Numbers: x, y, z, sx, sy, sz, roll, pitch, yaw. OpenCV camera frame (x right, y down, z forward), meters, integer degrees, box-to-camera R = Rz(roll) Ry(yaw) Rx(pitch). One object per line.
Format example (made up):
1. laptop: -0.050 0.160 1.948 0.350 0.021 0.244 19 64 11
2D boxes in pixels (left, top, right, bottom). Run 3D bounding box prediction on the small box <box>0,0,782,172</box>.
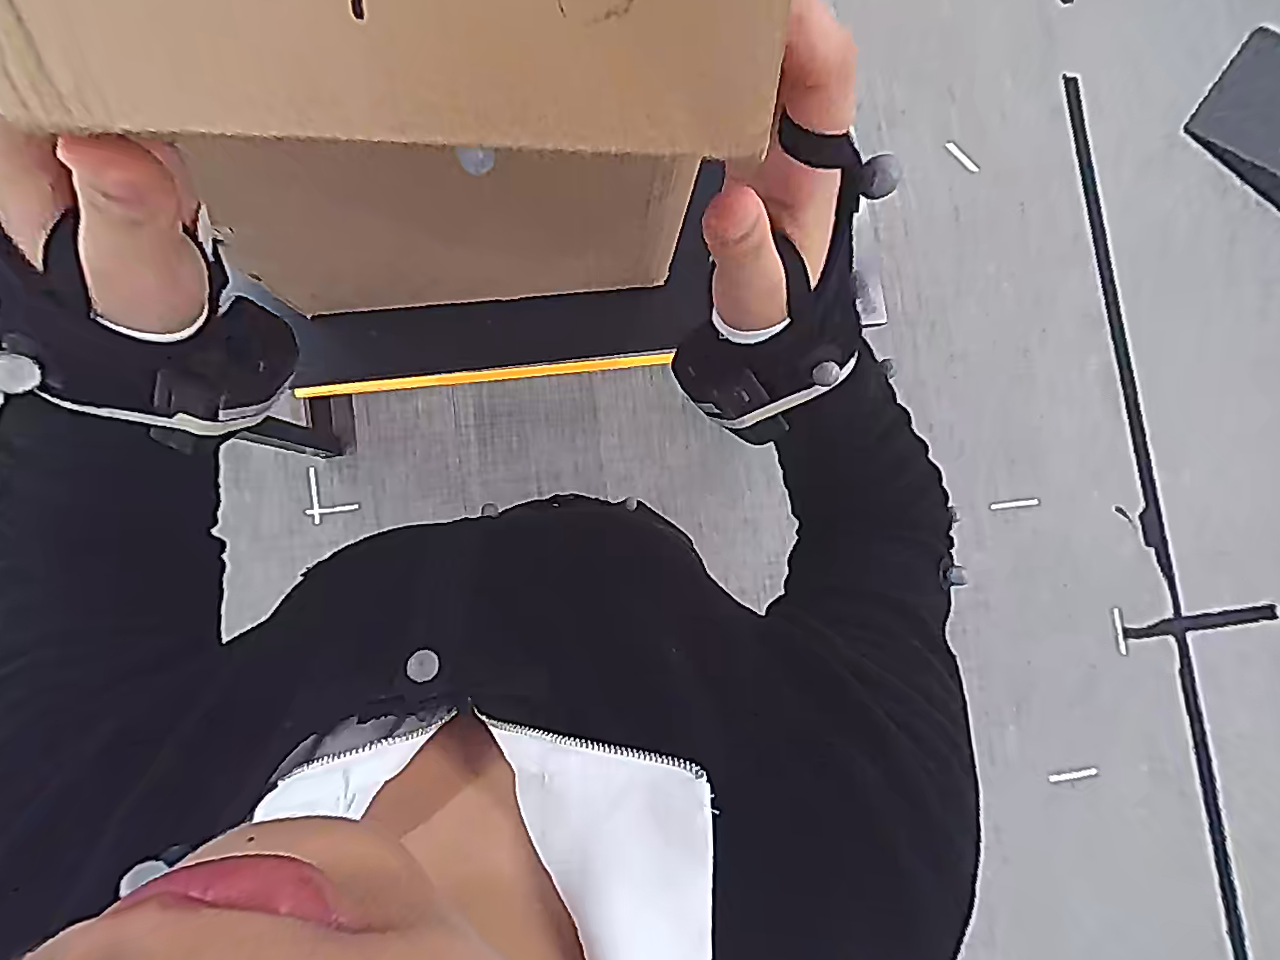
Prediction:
1. small box: -0.054 -0.189 0.136 0.168 0.176 0.179 0 125 -4
